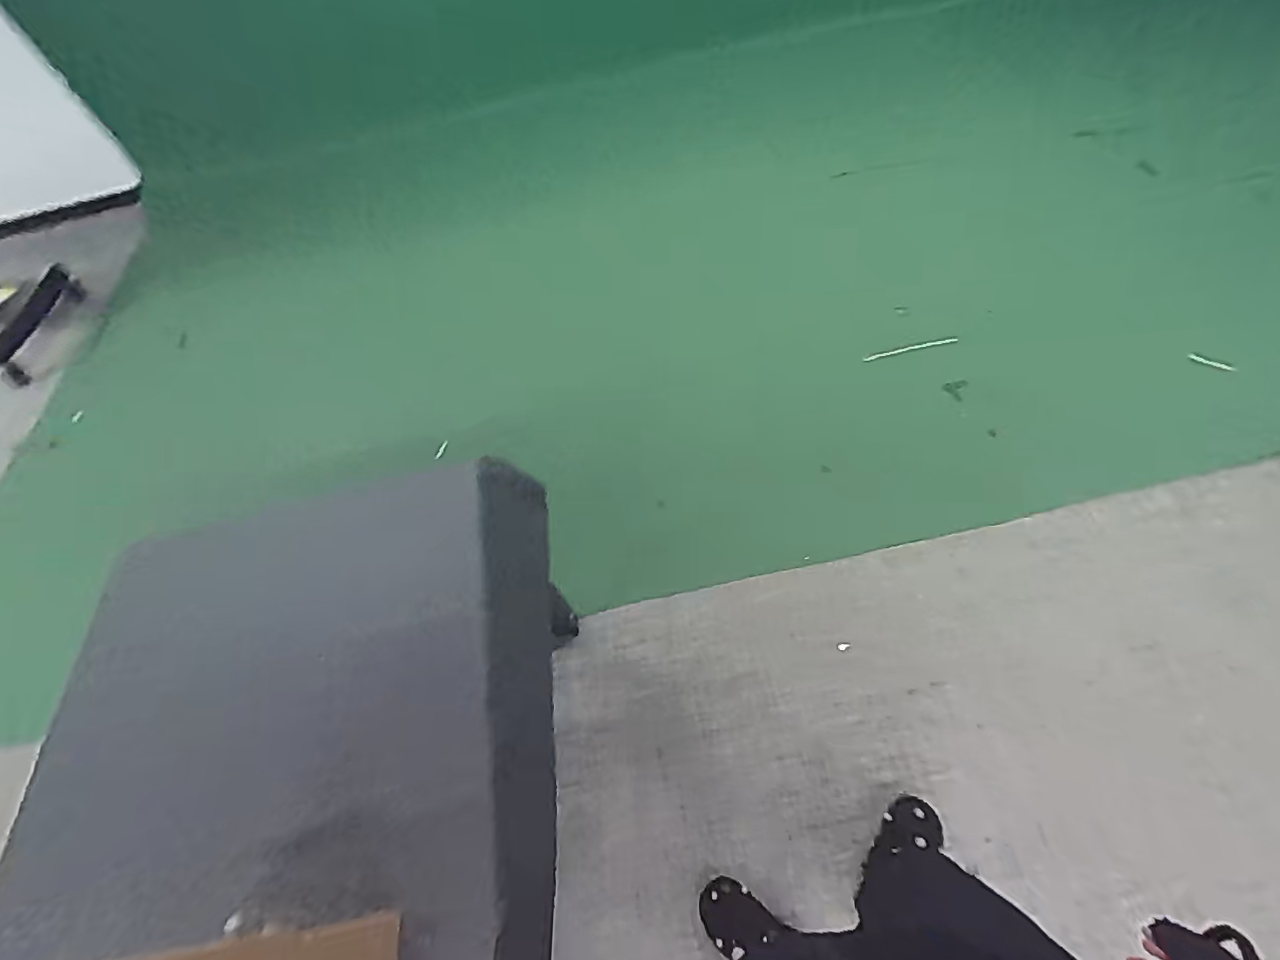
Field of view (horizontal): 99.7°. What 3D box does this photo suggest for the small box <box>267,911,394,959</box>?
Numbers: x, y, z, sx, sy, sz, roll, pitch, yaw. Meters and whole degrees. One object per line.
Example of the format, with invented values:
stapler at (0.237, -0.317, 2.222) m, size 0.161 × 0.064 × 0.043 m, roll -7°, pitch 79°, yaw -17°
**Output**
small box at (-0.335, 0.495, 0.461) m, size 0.179 × 0.176 × 0.168 m, roll -13°, pitch 56°, yaw 1°
